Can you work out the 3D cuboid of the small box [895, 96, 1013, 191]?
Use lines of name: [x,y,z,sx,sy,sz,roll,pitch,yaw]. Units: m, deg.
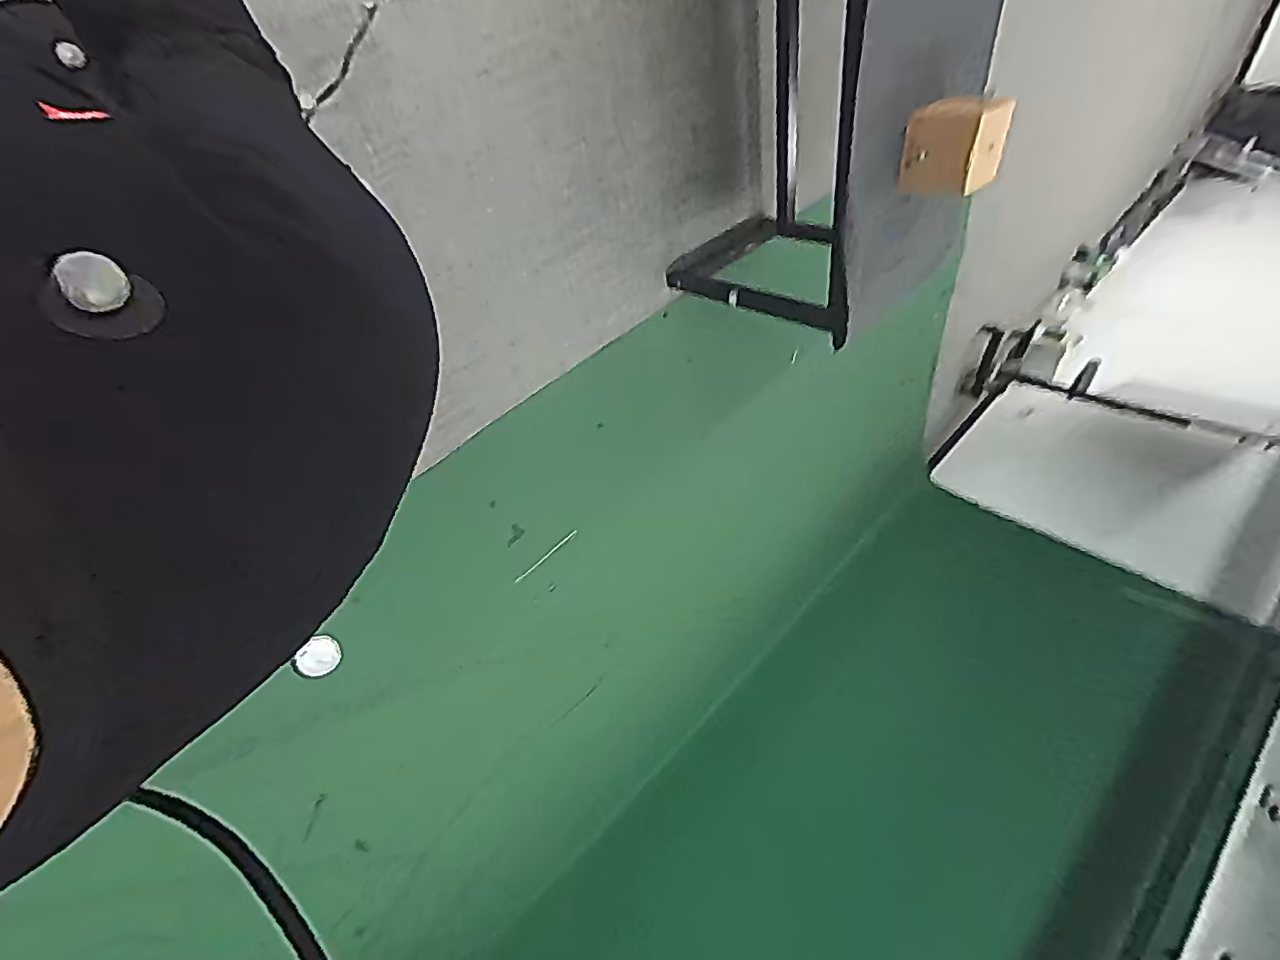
small box: [0.751,-0.818,1.307,0.179,0.176,0.168,-34,136,-26]
